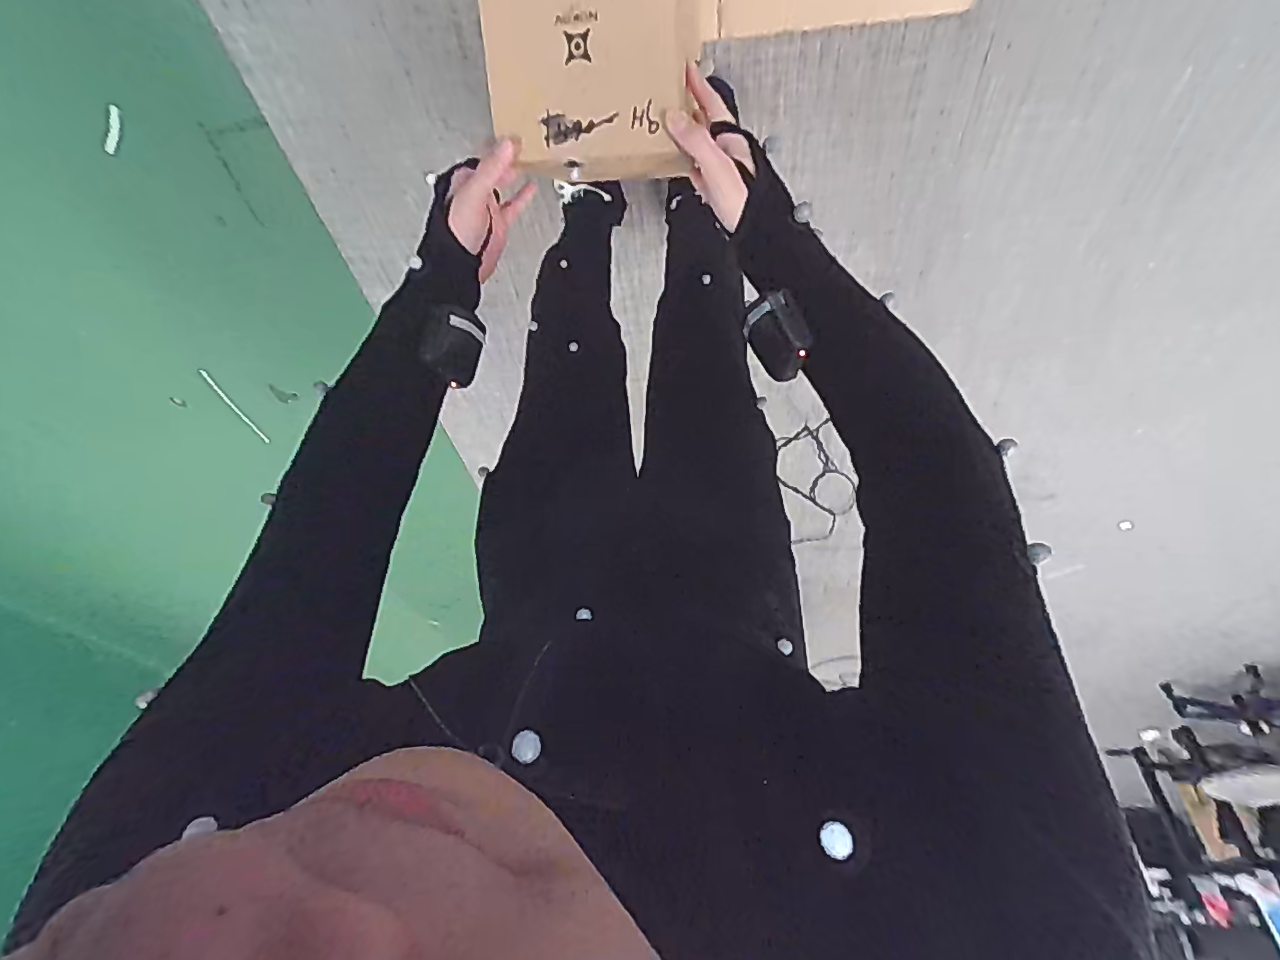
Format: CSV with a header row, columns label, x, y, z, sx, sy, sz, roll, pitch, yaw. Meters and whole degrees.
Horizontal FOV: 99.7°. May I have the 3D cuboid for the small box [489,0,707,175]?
label,x,y,z,sx,sy,sz,roll,pitch,yaw
small box,-0.028,-0.398,0.507,0.168,0.176,0.179,4,114,11
